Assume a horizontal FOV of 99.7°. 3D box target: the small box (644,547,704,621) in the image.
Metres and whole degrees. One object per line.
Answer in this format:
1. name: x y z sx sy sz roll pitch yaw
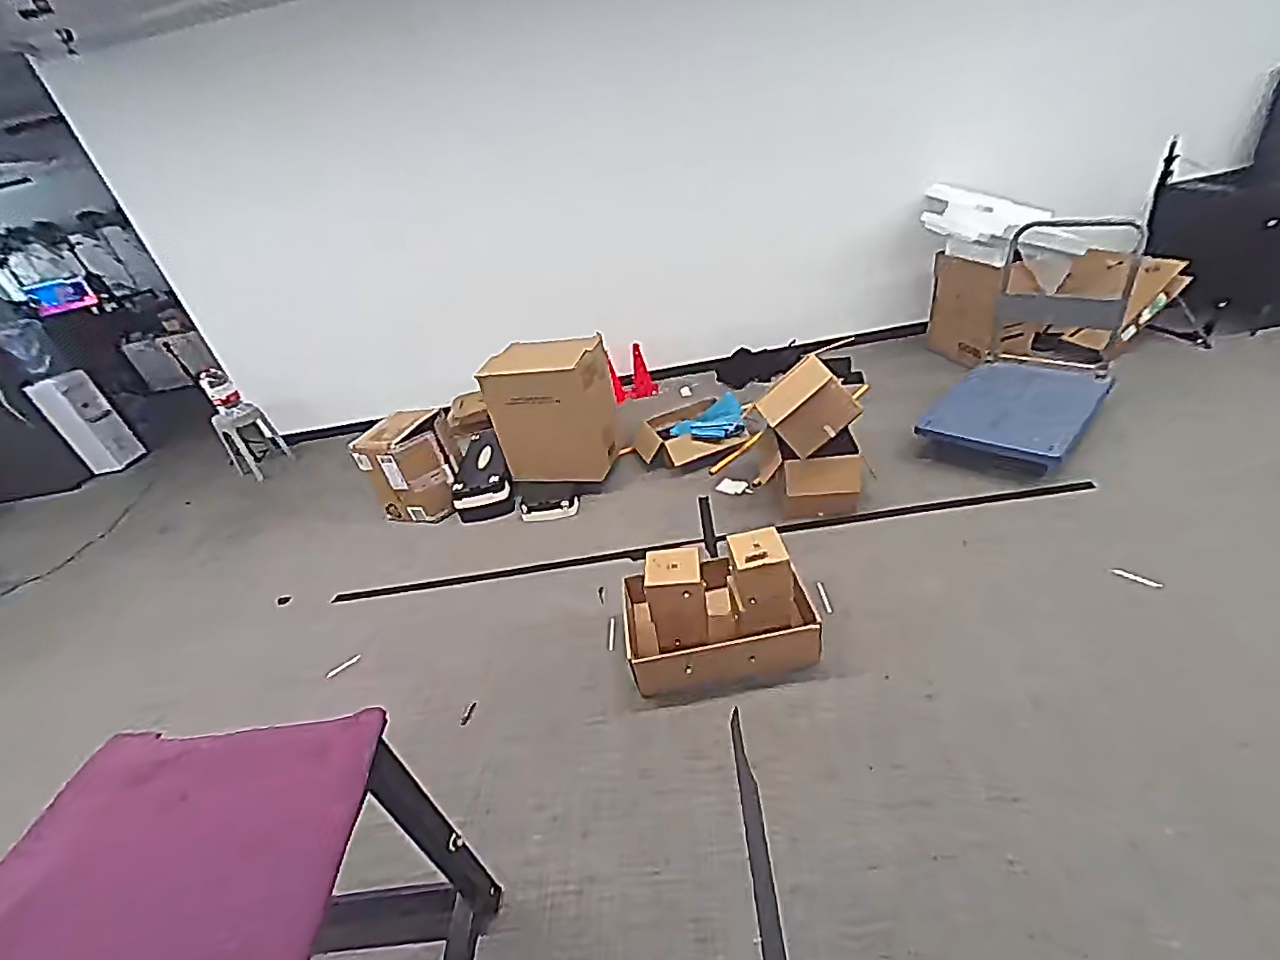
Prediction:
1. small box: 0.116 0.342 1.765 0.179 0.176 0.168 -6 32 8

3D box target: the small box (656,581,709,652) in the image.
1. small box: 0.147 0.469 1.867 0.168 0.176 0.179 -5 33 10

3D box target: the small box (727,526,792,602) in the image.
1. small box: 0.389 0.280 1.764 0.168 0.176 0.179 -12 31 2
